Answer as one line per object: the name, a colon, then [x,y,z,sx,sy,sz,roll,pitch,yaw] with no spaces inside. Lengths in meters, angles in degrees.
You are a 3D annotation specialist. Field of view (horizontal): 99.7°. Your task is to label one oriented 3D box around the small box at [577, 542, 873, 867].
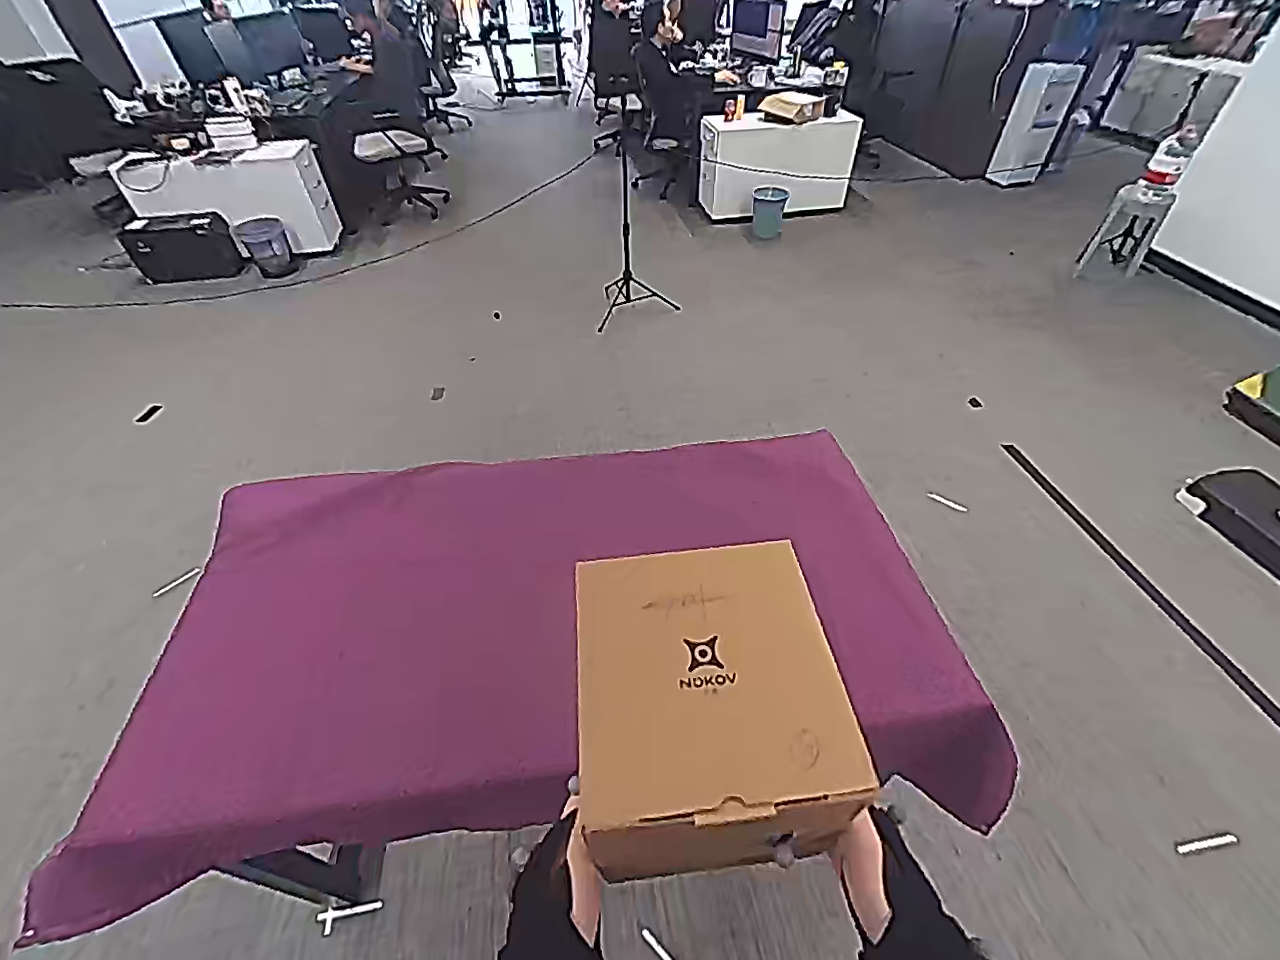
small box: [0.045,0.172,0.407,0.168,0.176,0.179,-5,46,-3]
